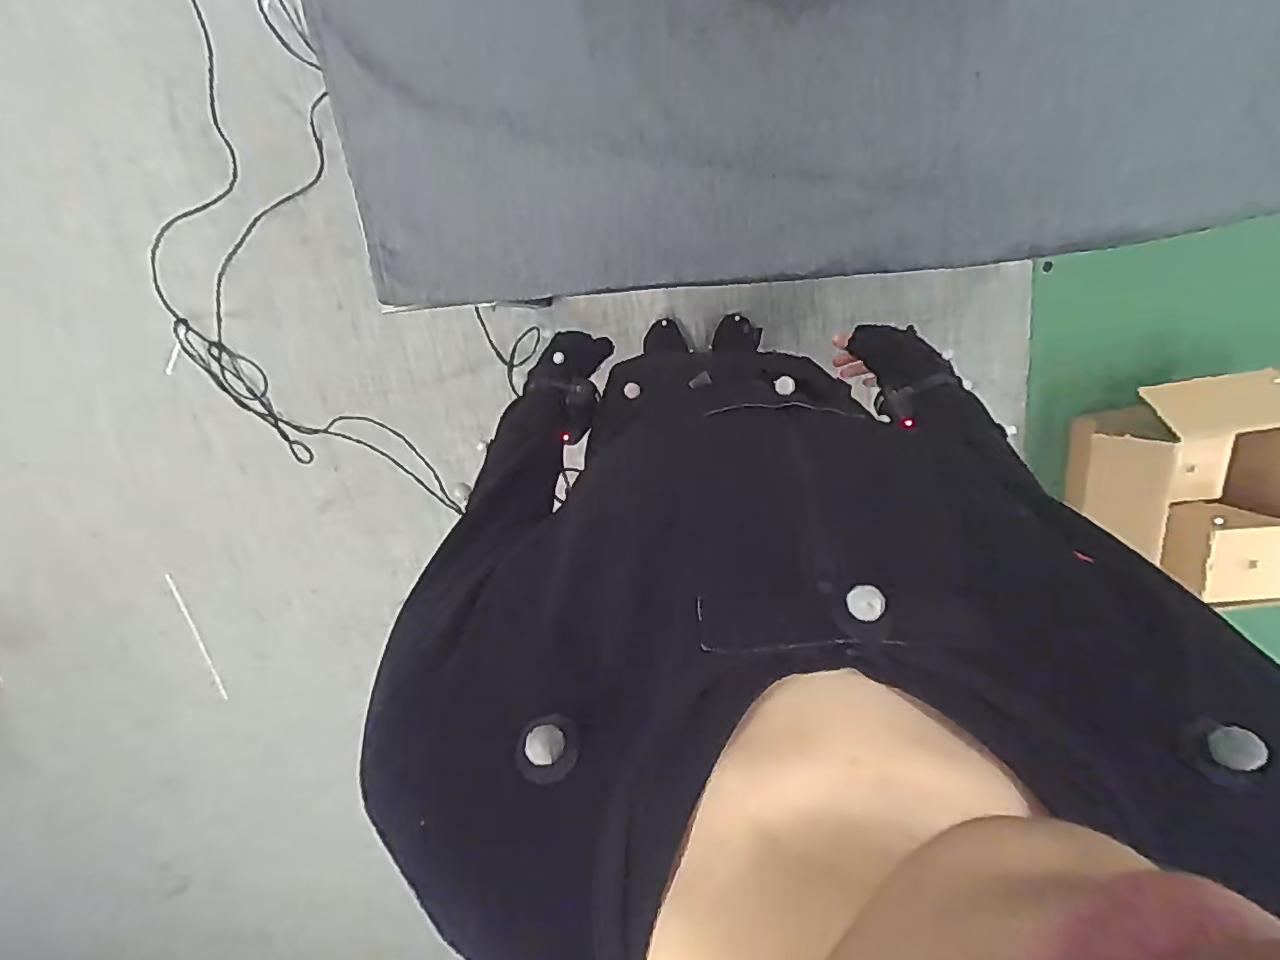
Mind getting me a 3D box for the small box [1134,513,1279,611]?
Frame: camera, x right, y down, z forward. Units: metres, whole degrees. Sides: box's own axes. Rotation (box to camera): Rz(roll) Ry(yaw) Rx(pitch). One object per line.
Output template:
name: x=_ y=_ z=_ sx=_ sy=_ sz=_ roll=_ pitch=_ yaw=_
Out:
small box: x=1.273 y=0.175 z=1.207 sx=0.179 sy=0.176 sz=0.168 roll=-4 pitch=102 yaw=2
